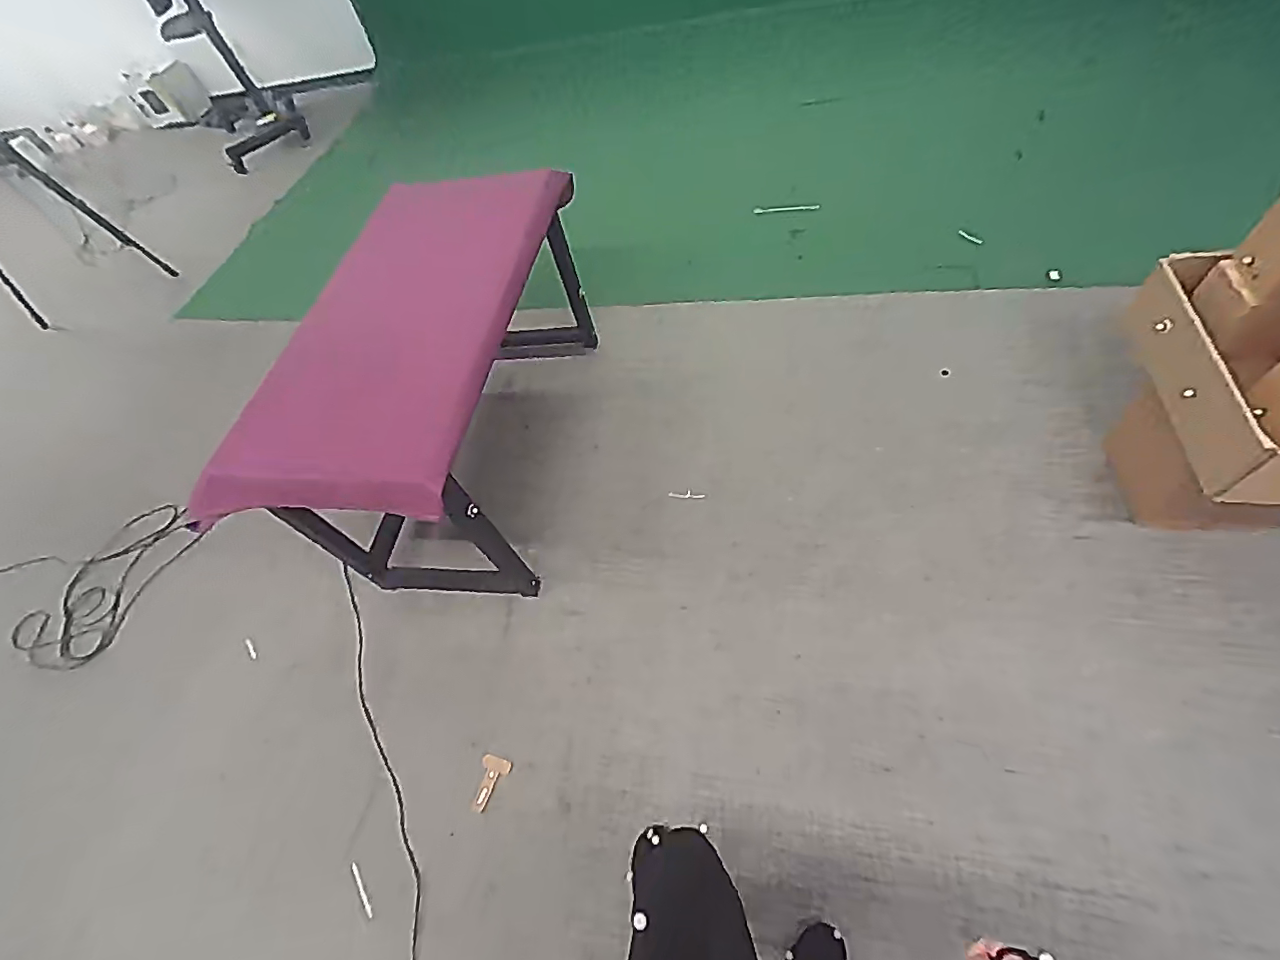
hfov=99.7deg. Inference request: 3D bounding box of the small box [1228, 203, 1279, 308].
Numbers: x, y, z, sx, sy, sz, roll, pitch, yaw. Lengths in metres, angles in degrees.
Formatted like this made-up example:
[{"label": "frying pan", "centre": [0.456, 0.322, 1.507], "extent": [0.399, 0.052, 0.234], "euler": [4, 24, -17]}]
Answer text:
[{"label": "small box", "centre": [1.429, -0.480, 1.141], "extent": [0.179, 0.176, 0.168], "euler": [5, 57, 15]}]
